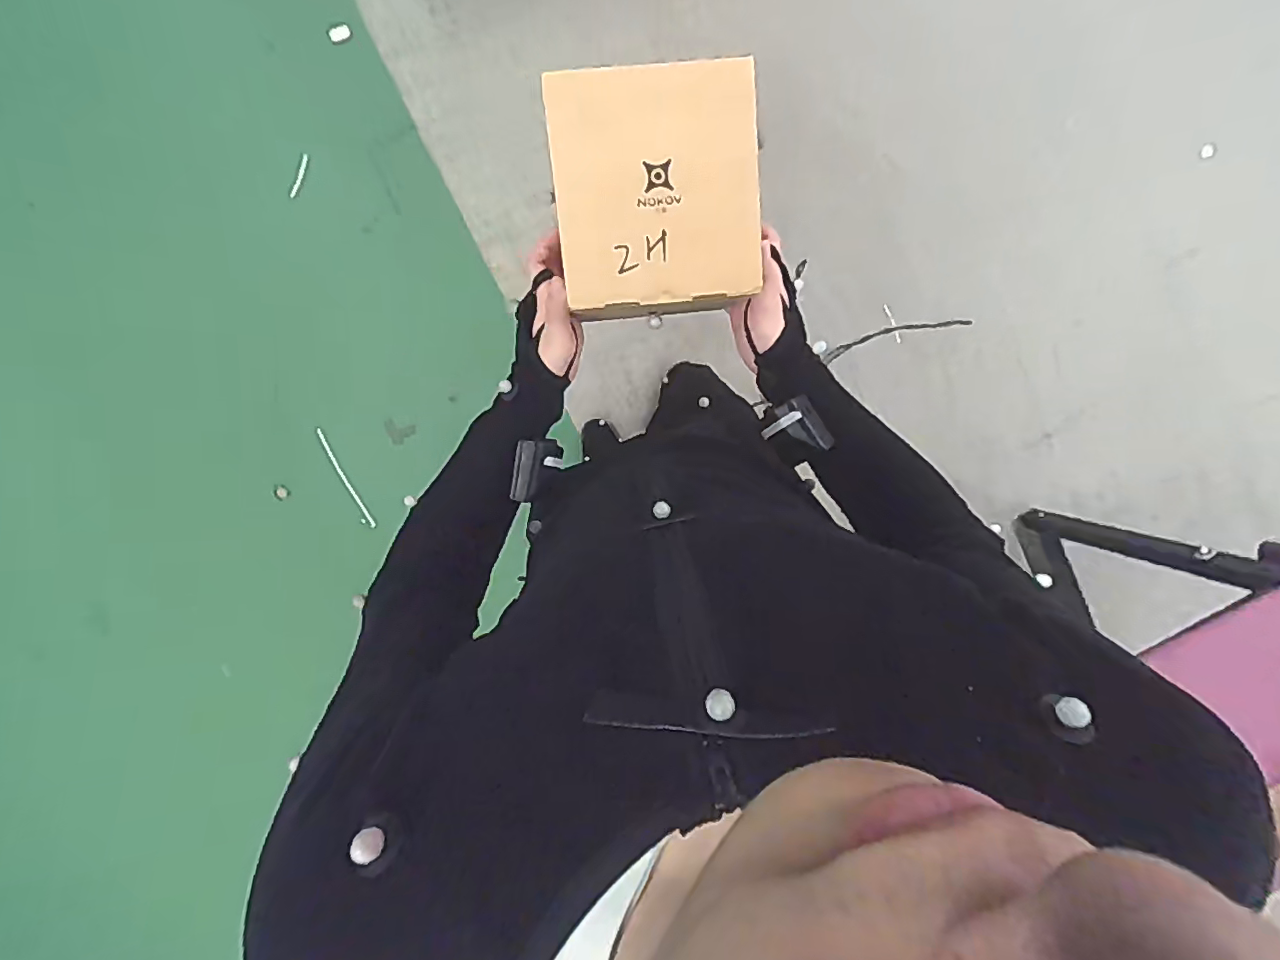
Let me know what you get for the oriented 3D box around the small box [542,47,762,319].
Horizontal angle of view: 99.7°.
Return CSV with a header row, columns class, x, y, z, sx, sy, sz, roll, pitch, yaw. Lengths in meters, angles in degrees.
class,x,y,z,sx,sy,sz,roll,pitch,yaw
small box,0.008,-0.250,0.497,0.168,0.176,0.179,-5,103,-2
